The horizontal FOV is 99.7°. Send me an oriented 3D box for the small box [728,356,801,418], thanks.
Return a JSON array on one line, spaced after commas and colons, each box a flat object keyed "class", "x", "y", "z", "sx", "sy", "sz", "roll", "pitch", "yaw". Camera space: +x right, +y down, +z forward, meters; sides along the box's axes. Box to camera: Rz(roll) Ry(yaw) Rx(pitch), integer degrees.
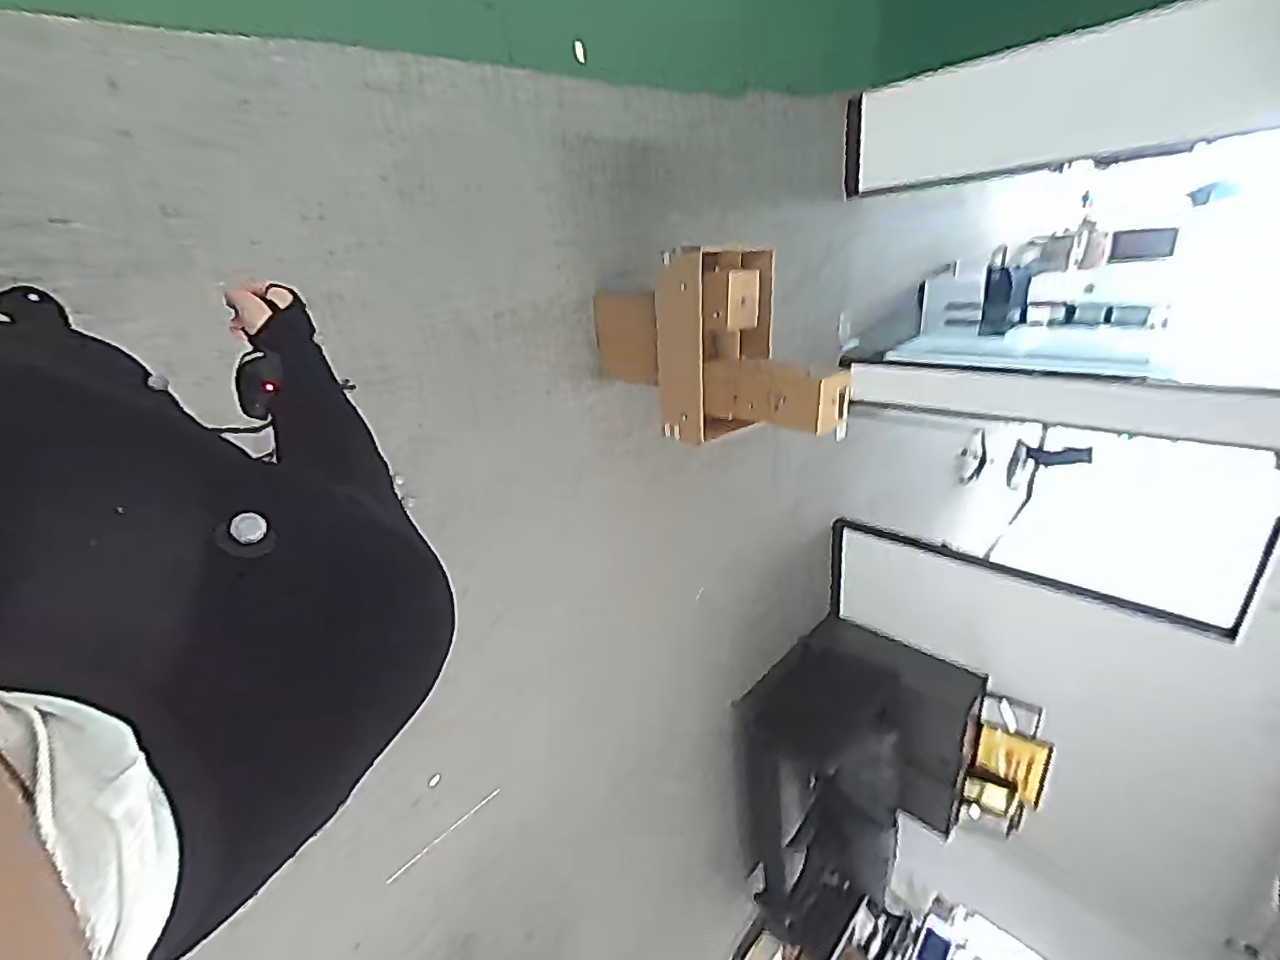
[{"class": "small box", "x": 0.402, "y": -0.309, "z": 1.768, "sx": 0.179, "sy": 0.176, "sz": 0.168, "roll": -22, "pitch": 119, "yaw": -40}]
